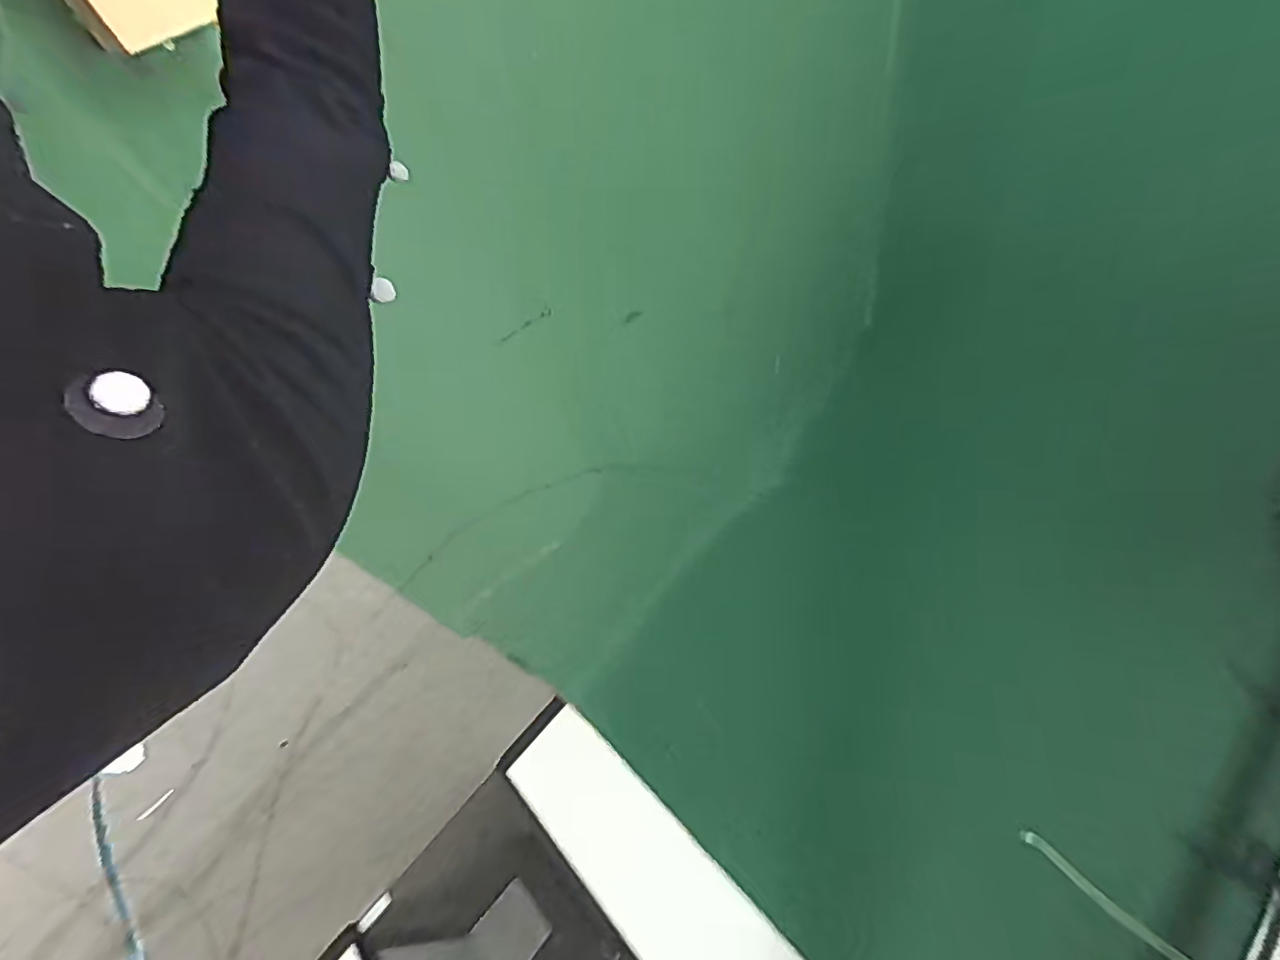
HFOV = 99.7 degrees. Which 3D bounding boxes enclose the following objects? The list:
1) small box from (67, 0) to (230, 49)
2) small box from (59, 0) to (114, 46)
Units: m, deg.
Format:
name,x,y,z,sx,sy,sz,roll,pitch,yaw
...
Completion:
name,x,y,z,sx,sy,sz,roll,pitch,yaw
small box,-0.717,-0.723,0.733,0.168,0.176,0.179,-43,144,-19
small box,-0.825,-0.802,0.826,0.168,0.176,0.179,-44,144,-18
